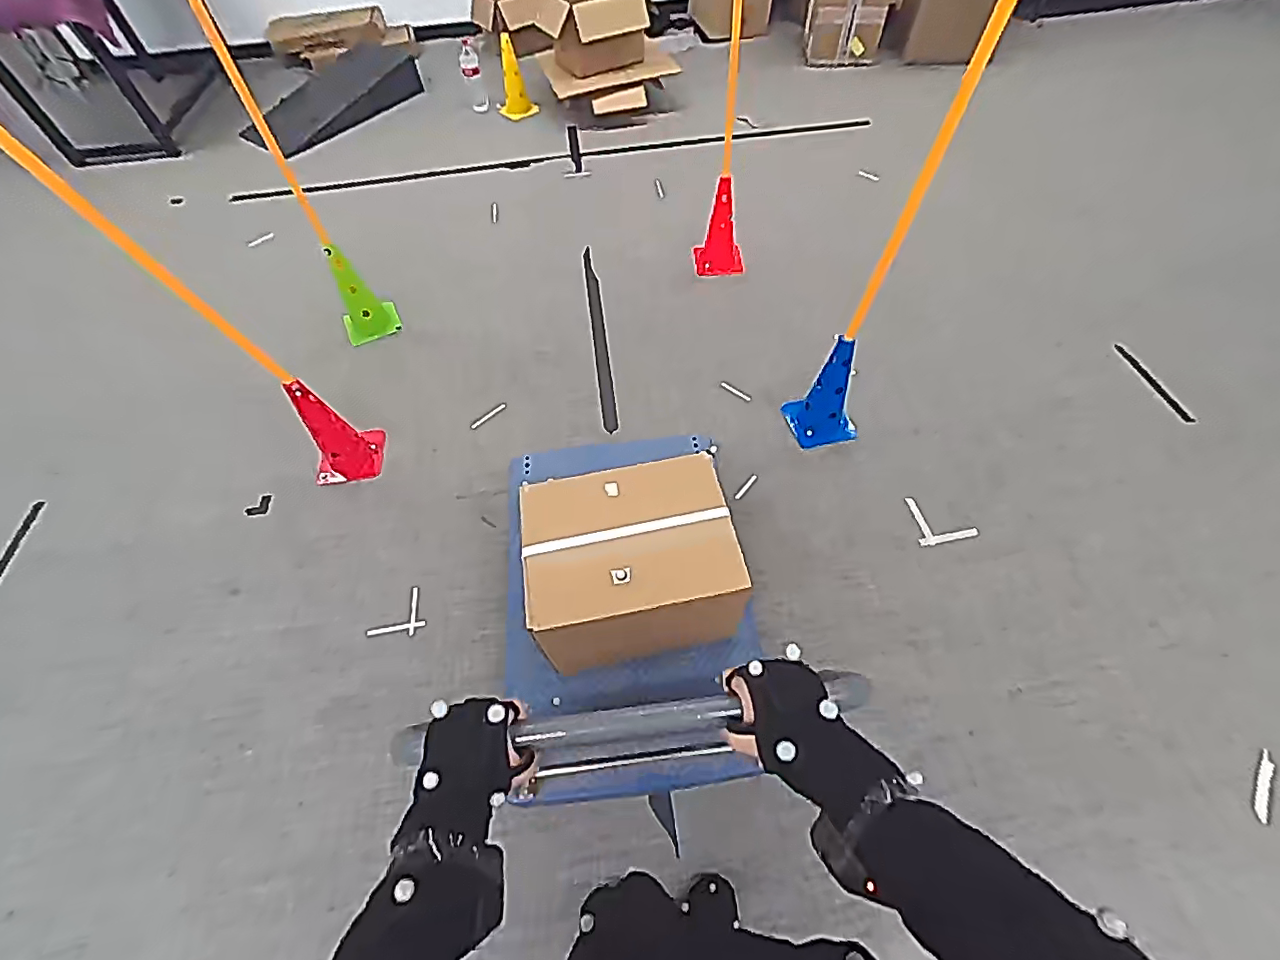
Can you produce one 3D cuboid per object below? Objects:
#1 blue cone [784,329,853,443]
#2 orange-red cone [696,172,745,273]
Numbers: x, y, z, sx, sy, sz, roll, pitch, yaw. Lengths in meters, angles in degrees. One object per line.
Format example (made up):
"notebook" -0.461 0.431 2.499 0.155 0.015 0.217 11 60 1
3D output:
"blue cone" 0.586 -0.297 1.657 0.193 0.380 0.192 -11 56 -5
"orange-red cone" 0.332 -1.029 2.135 0.199 0.360 0.198 -2 57 0
